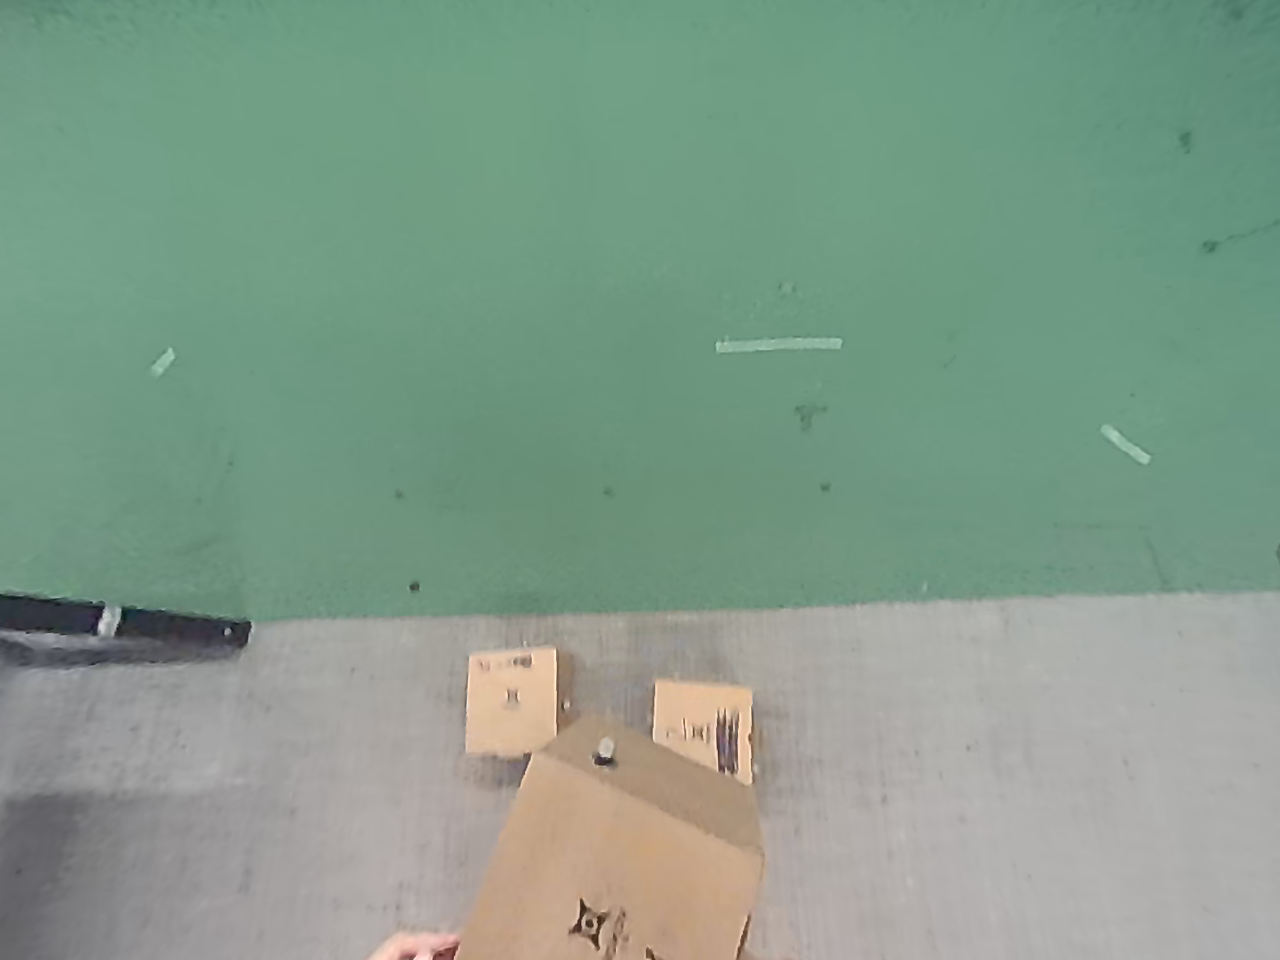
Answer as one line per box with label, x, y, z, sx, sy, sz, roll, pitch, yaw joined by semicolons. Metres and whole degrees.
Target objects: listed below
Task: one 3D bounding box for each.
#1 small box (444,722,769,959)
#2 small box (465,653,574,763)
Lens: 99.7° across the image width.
small box;-0.015;0.306;0.415;0.179;0.176;0.168;18;81;13
small box;-0.221;0.427;1.031;0.168;0.176;0.179;-4;70;2
